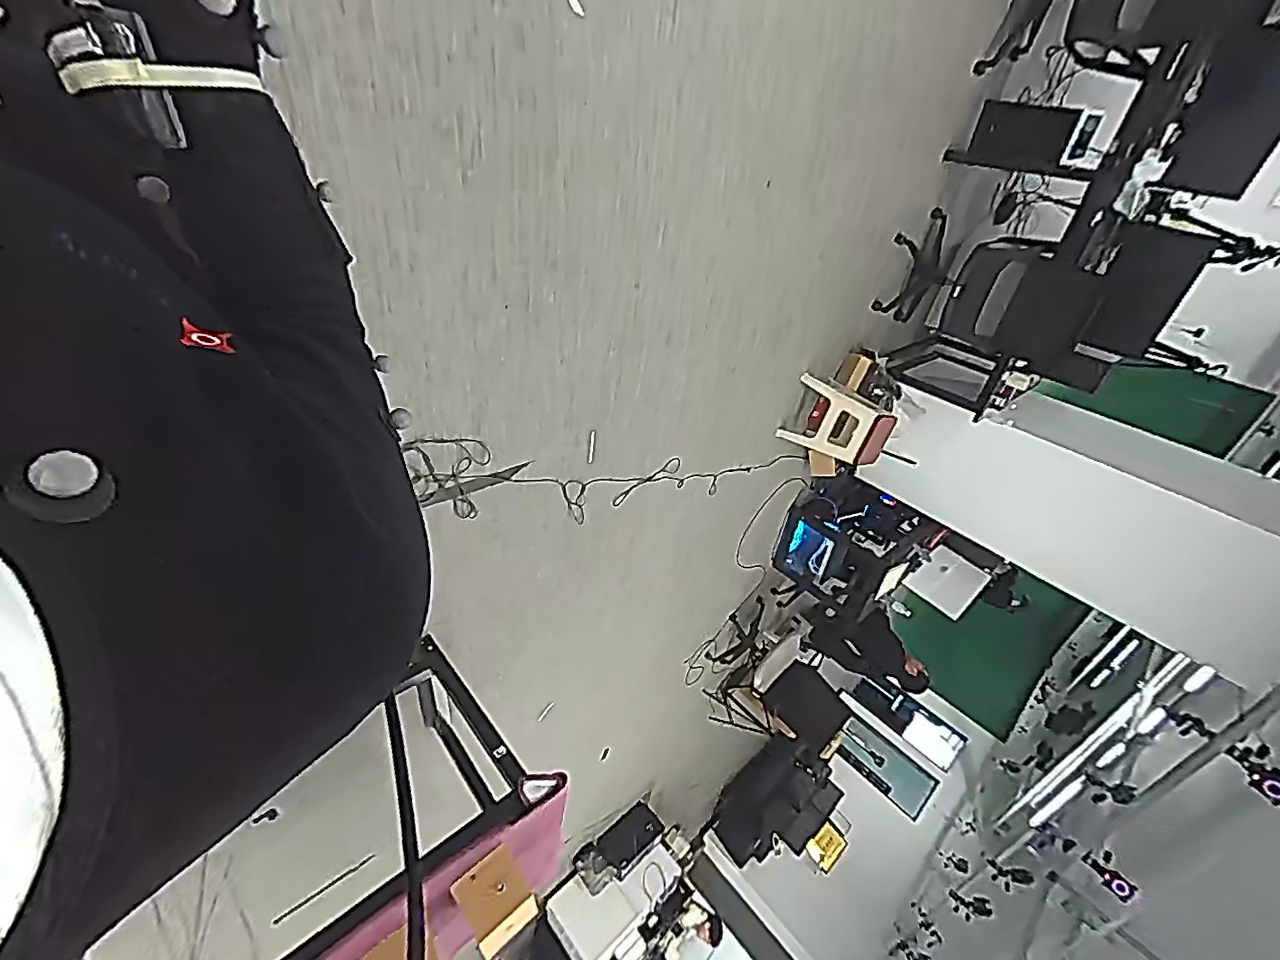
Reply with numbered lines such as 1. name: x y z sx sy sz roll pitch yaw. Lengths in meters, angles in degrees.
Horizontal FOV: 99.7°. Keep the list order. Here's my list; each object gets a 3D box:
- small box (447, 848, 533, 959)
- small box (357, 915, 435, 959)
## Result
1. small box: -0.418 1.173 1.505 0.168 0.176 0.179 -28 138 -33
2. small box: -0.606 1.253 1.349 0.179 0.176 0.168 -25 137 -35
